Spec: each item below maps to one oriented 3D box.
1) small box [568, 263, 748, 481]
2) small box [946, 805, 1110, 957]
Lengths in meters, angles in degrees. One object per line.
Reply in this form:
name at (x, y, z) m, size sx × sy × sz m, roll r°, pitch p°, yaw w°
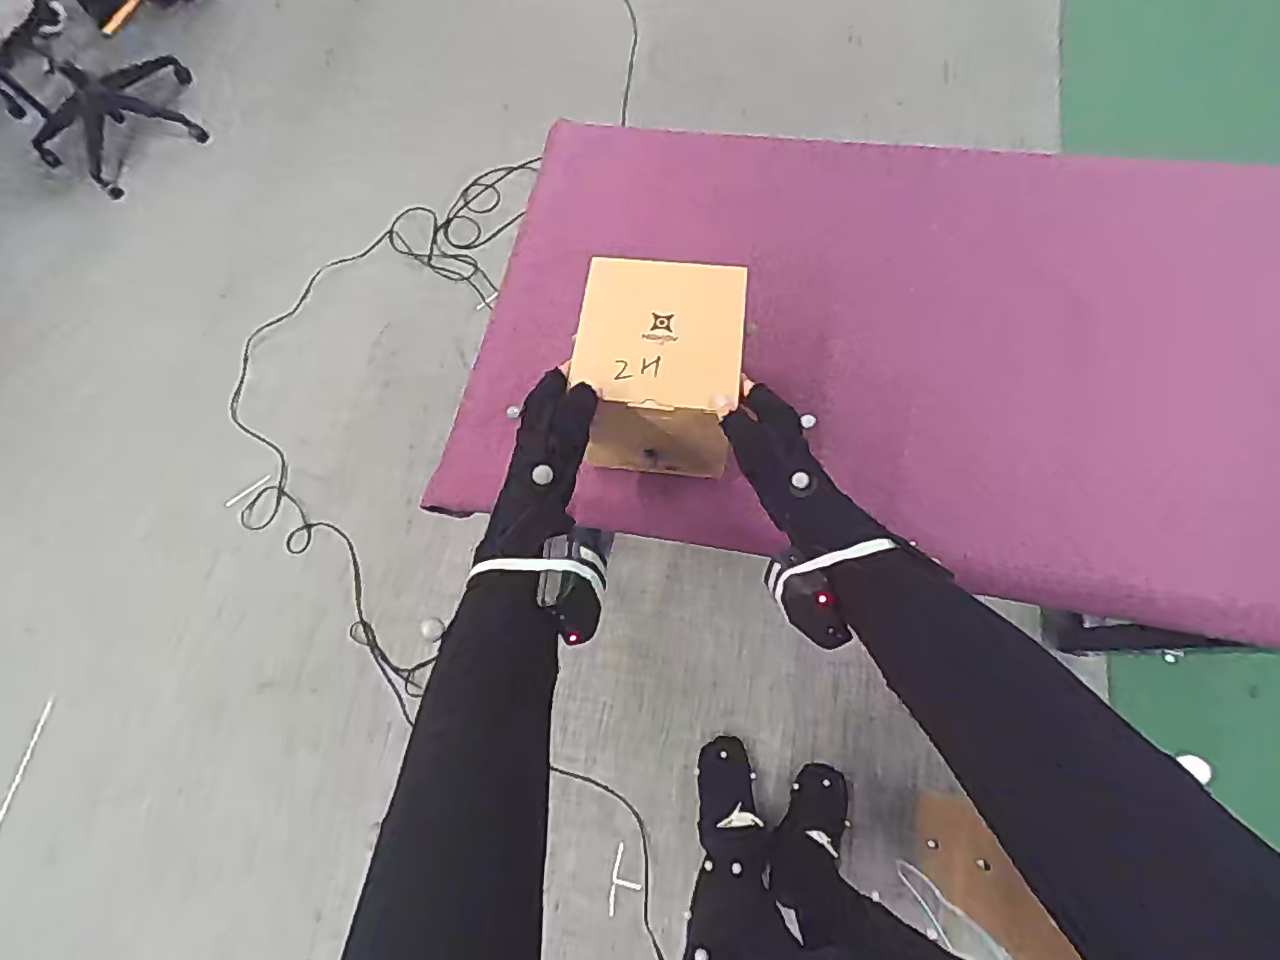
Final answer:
small box at (0.023, -0.116, 0.620) m, size 0.168 × 0.176 × 0.179 m, roll 6°, pitch 70°, yaw 5°
small box at (0.634, 0.677, 0.901) m, size 0.168 × 0.176 × 0.179 m, roll 13°, pitch 72°, yaw 9°
